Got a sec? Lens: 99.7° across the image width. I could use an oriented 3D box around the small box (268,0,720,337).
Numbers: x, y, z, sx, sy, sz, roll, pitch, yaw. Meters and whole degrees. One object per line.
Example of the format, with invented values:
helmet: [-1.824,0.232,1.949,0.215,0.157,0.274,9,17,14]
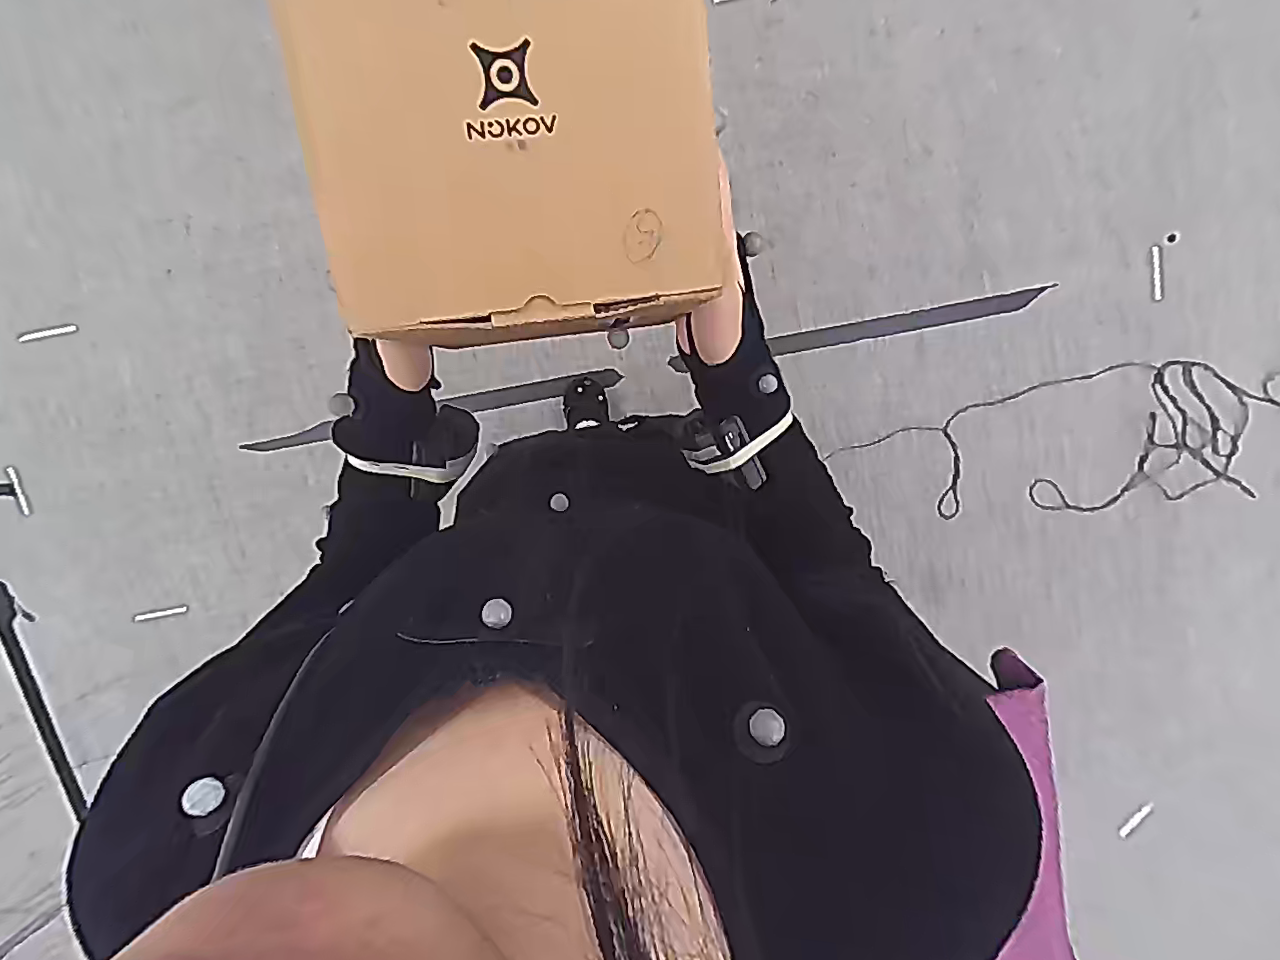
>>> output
small box: [-0.062,-0.175,0.291,0.168,0.176,0.179,-9,102,-5]
